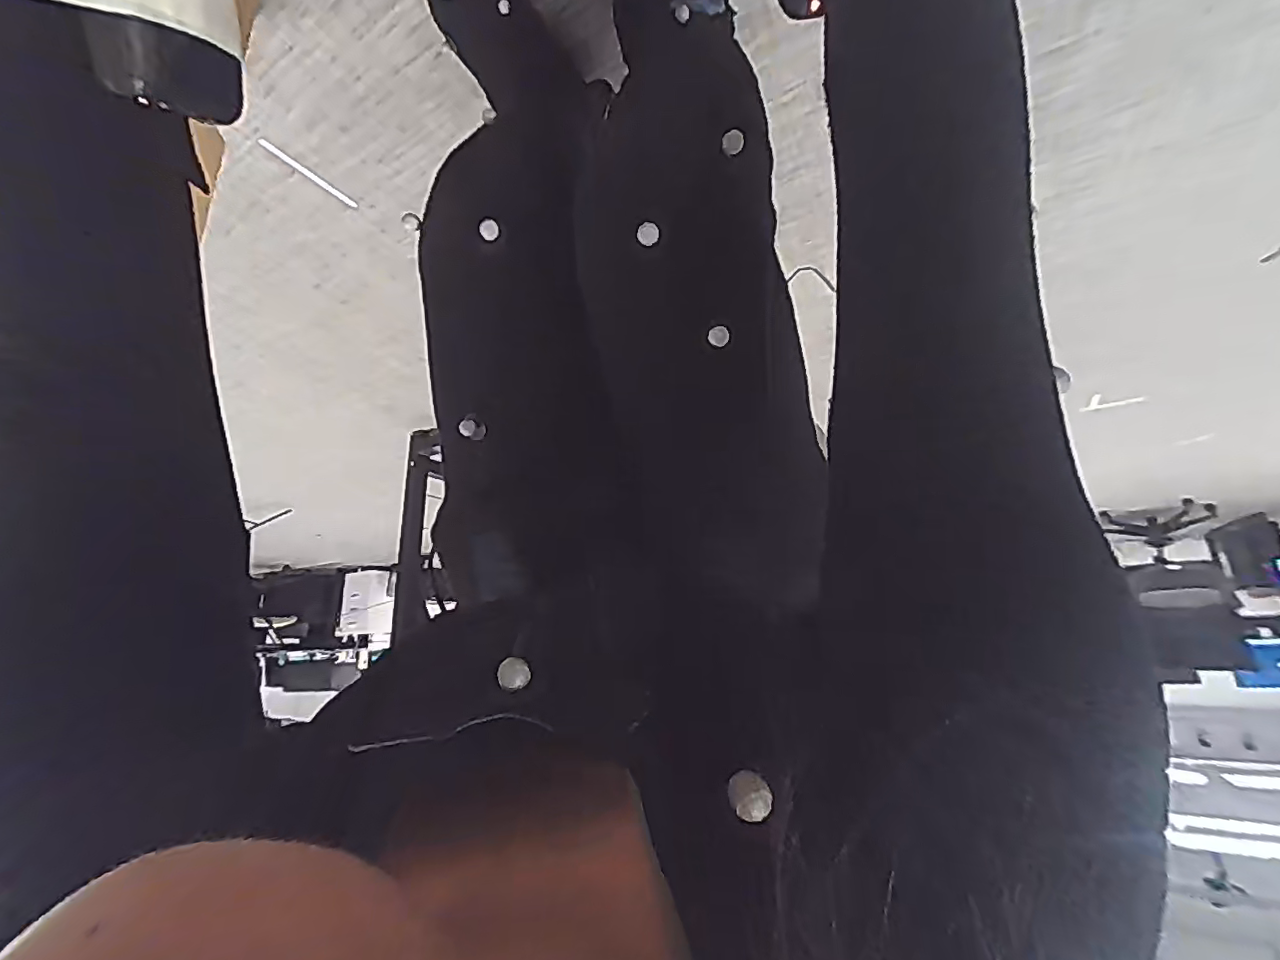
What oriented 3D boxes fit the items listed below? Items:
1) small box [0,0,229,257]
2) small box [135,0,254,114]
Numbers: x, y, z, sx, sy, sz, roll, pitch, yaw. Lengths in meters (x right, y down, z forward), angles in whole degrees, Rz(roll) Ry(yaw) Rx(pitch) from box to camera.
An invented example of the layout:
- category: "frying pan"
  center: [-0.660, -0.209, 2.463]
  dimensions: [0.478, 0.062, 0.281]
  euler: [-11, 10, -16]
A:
- category: "small box"
  center: [-0.527, -0.323, 0.487]
  dimensions: [0.179, 0.176, 0.168]
  euler: [1, 163, -7]
- category: "small box"
  center: [-0.525, -0.481, 0.544]
  dimensions: [0.179, 0.176, 0.168]
  euler: [-9, 162, 27]
